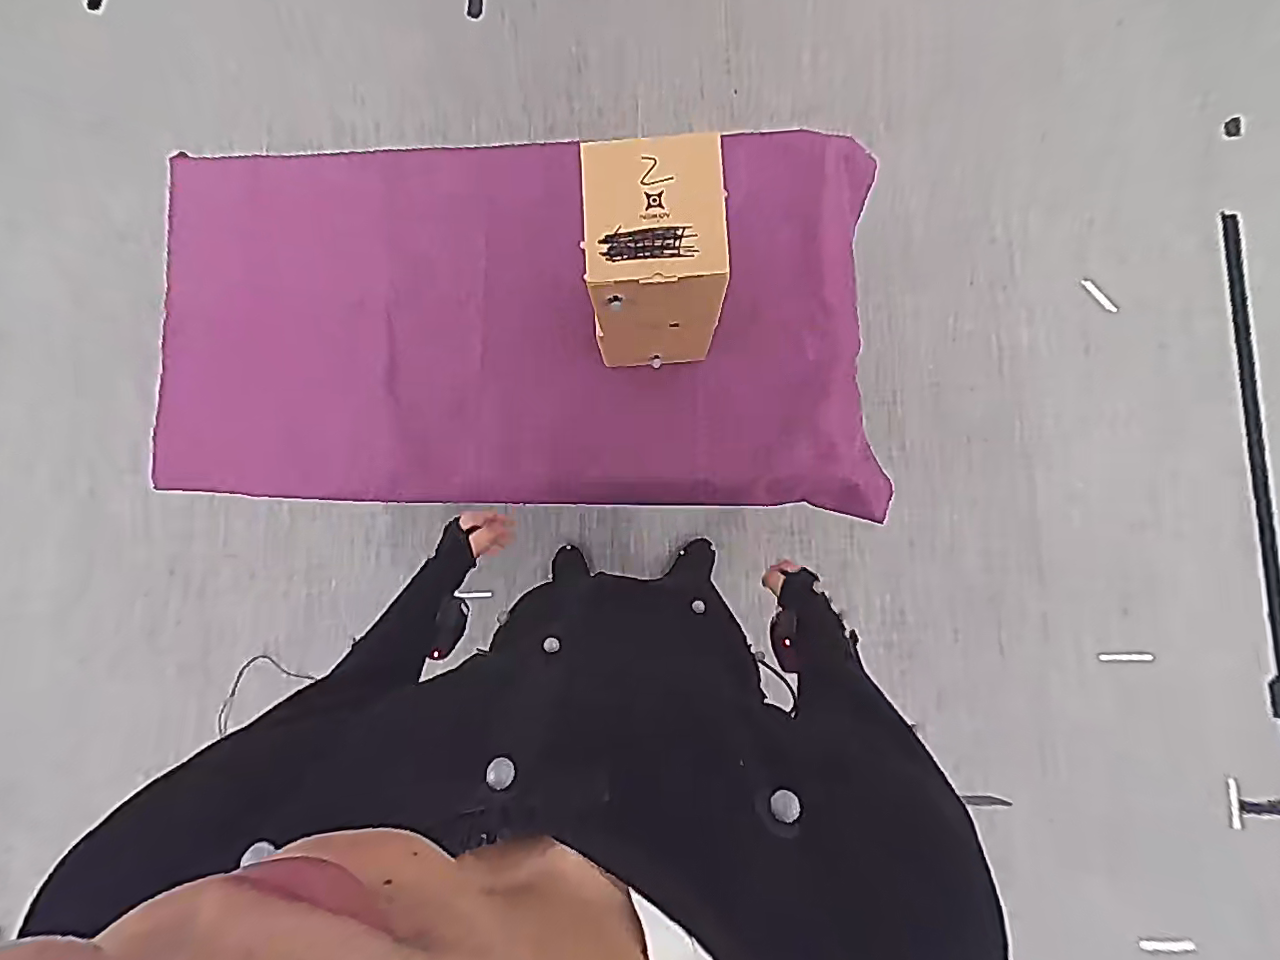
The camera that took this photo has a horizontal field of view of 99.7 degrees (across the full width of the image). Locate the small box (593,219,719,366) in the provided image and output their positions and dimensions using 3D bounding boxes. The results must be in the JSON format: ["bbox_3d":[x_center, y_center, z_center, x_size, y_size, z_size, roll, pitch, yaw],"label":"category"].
[{"bbox_3d":[0.022,-0.287,0.857,0.179,0.176,0.168,-4,85,1],"label":"small box"}]
